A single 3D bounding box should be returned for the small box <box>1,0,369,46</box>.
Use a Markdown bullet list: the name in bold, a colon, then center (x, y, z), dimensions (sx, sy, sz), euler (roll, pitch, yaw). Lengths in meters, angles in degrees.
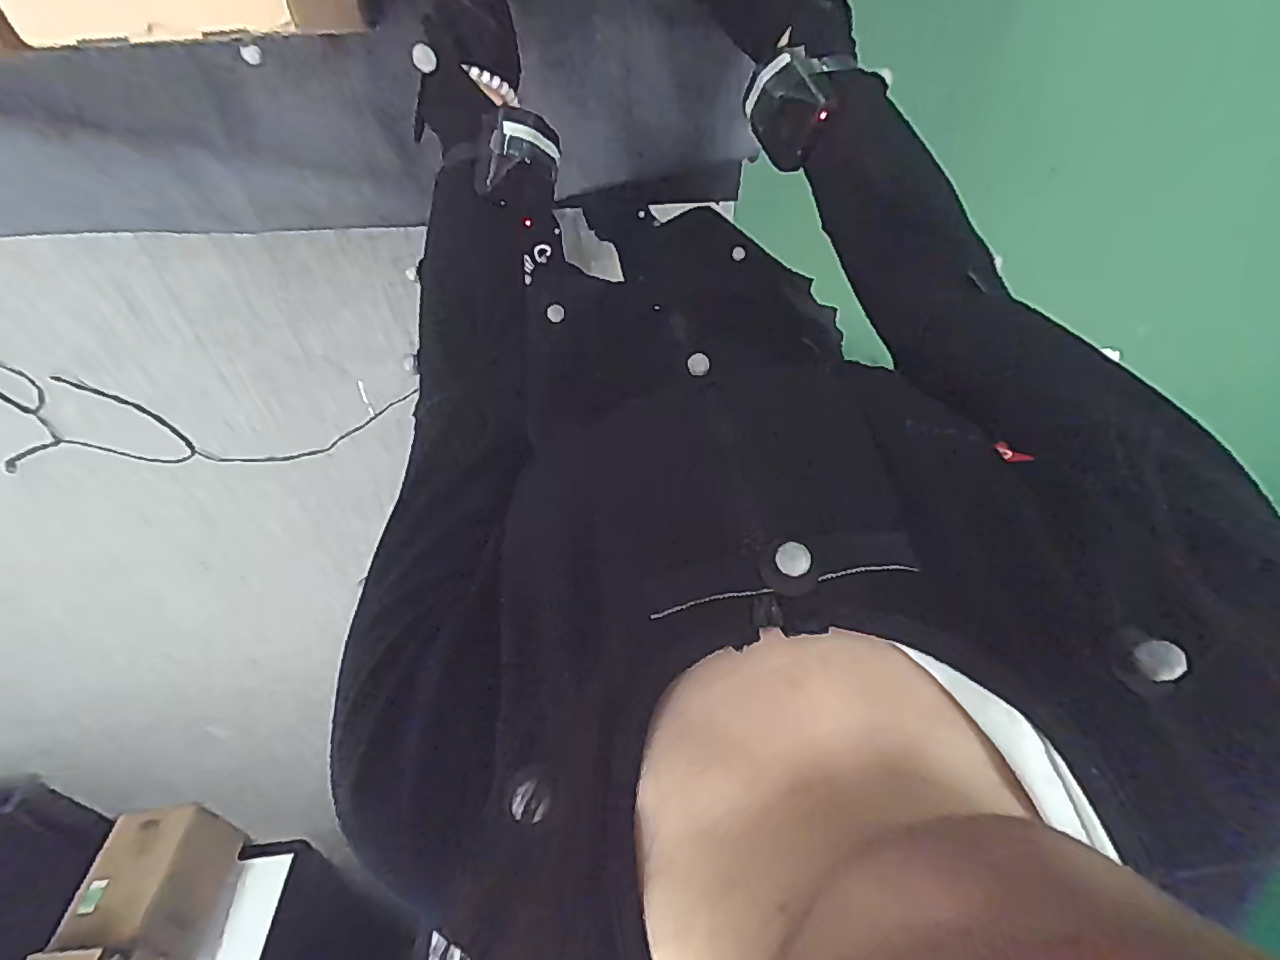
- **small box**: center (-0.301, -0.389, 0.339), dimensions (0.168, 0.176, 0.179), euler (-5, 130, -2)
